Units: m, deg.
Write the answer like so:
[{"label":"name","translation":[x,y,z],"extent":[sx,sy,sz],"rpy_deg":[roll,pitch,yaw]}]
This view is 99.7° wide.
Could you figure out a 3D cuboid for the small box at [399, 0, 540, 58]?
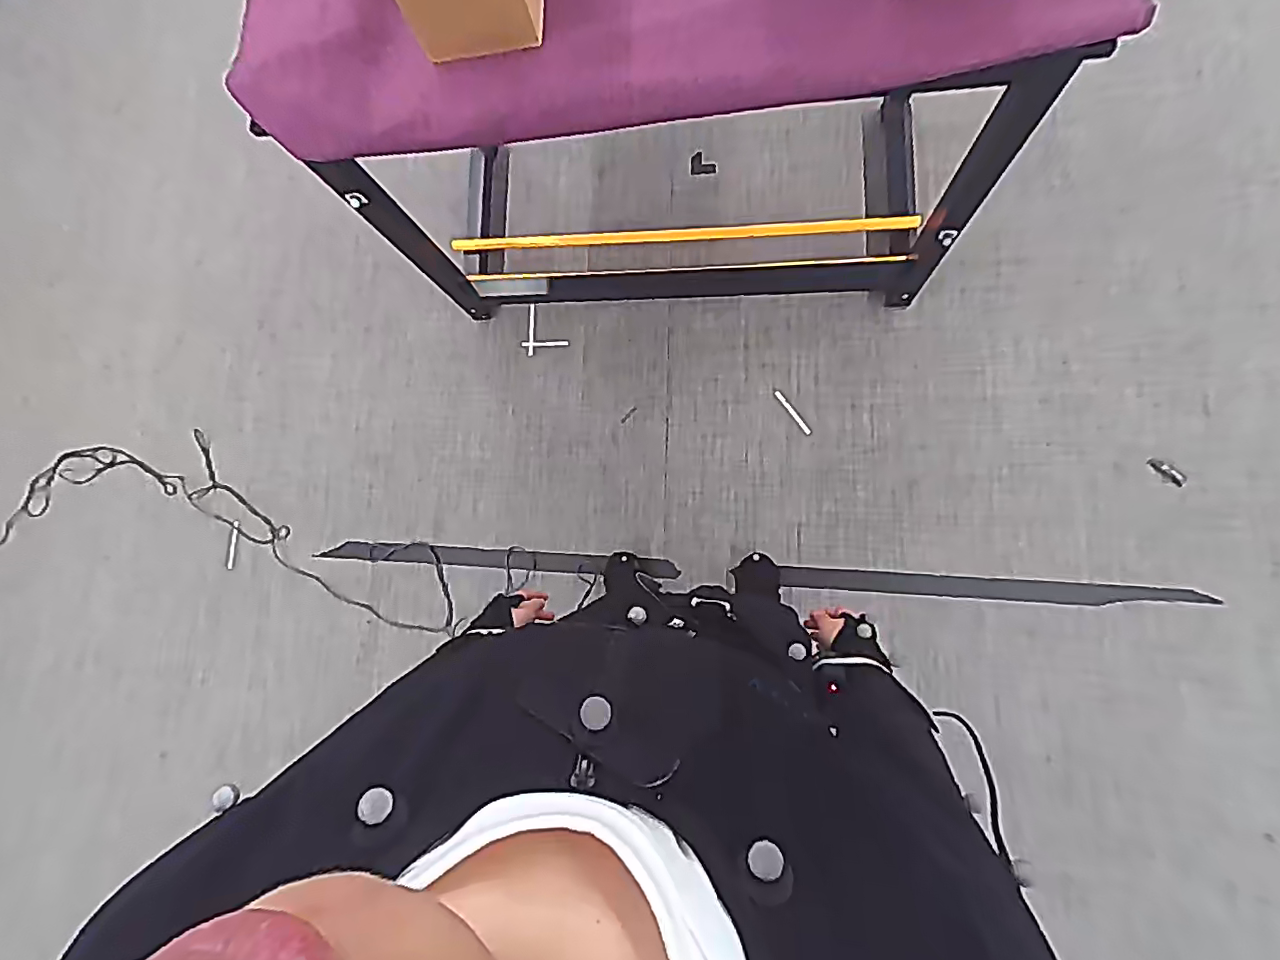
[{"label":"small box","translation":[-0.235,-0.716,0.725],"extent":[0.179,0.176,0.168],"rpy_deg":[-1,82,9]}]
